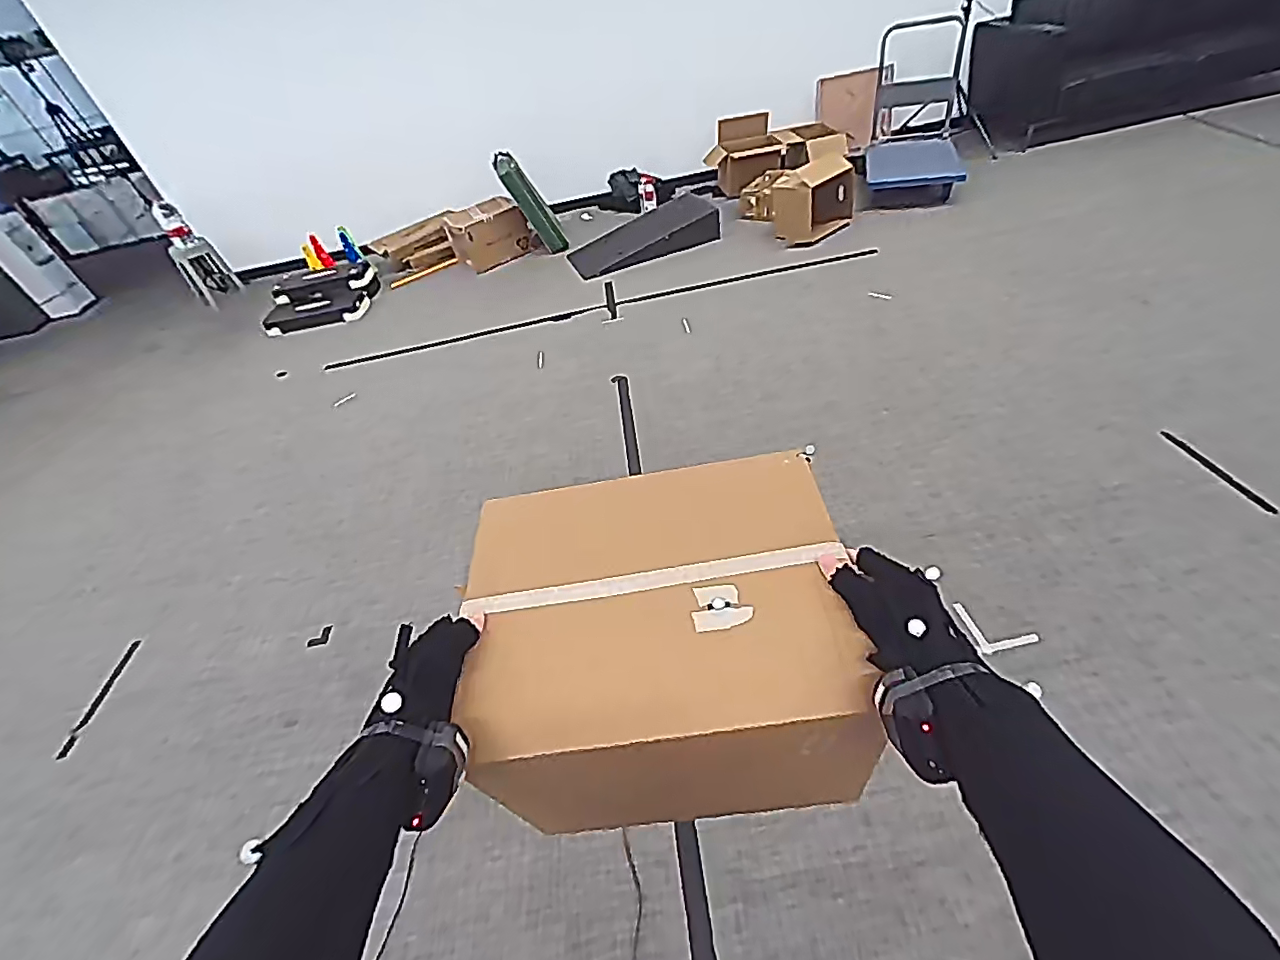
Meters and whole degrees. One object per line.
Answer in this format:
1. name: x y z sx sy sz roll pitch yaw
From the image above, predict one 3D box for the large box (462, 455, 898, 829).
1. large box: 0.040 0.211 0.687 0.408 0.320 0.320 -9 47 3
